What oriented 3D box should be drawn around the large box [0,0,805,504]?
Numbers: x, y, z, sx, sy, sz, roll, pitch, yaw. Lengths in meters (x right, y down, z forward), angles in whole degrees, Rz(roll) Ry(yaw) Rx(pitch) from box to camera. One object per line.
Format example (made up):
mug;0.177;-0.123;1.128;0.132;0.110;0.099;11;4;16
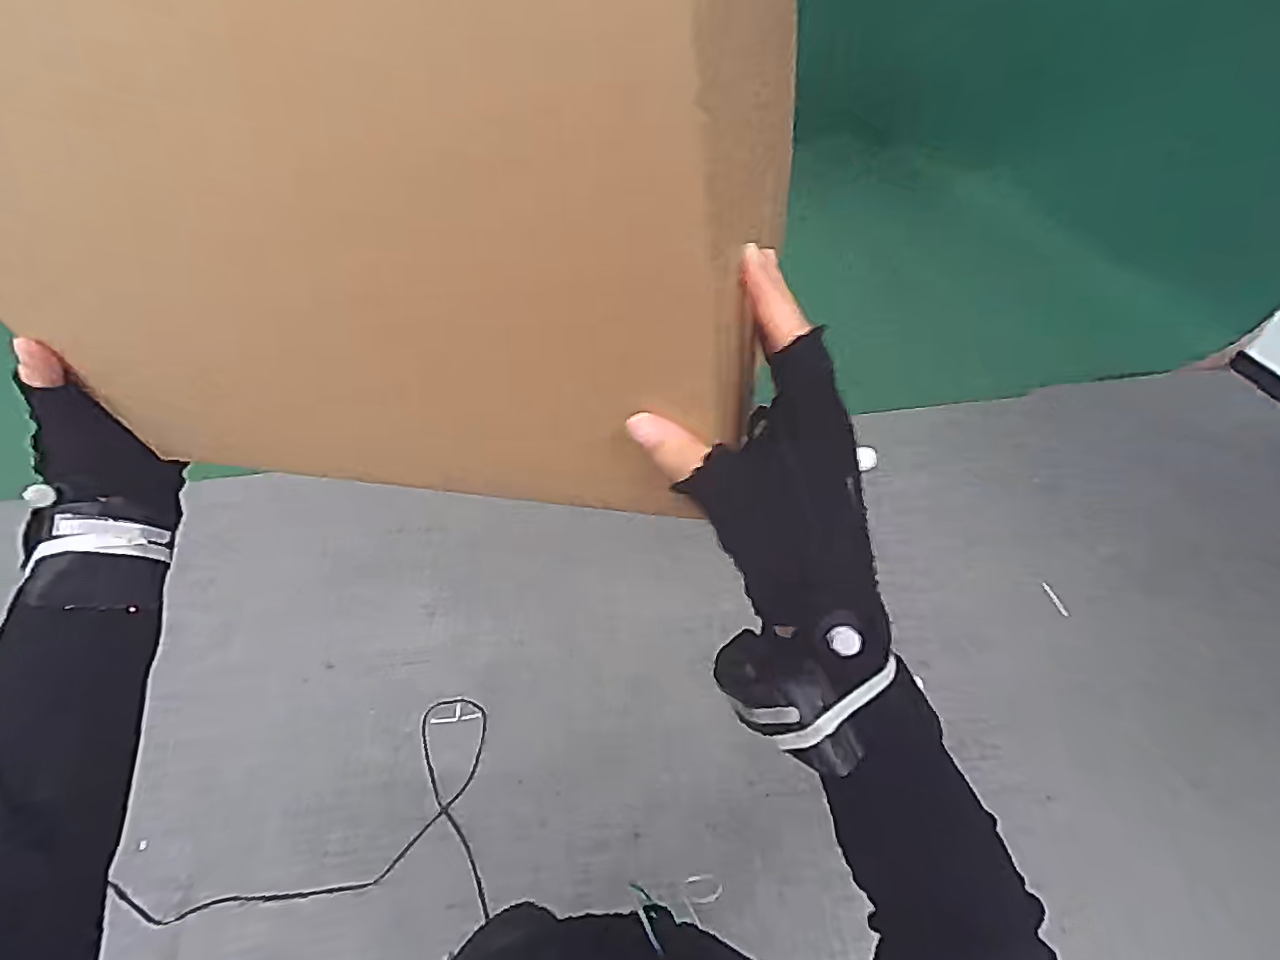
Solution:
large box;-0.122;-0.209;0.318;0.408;0.320;0.320;6;50;16
